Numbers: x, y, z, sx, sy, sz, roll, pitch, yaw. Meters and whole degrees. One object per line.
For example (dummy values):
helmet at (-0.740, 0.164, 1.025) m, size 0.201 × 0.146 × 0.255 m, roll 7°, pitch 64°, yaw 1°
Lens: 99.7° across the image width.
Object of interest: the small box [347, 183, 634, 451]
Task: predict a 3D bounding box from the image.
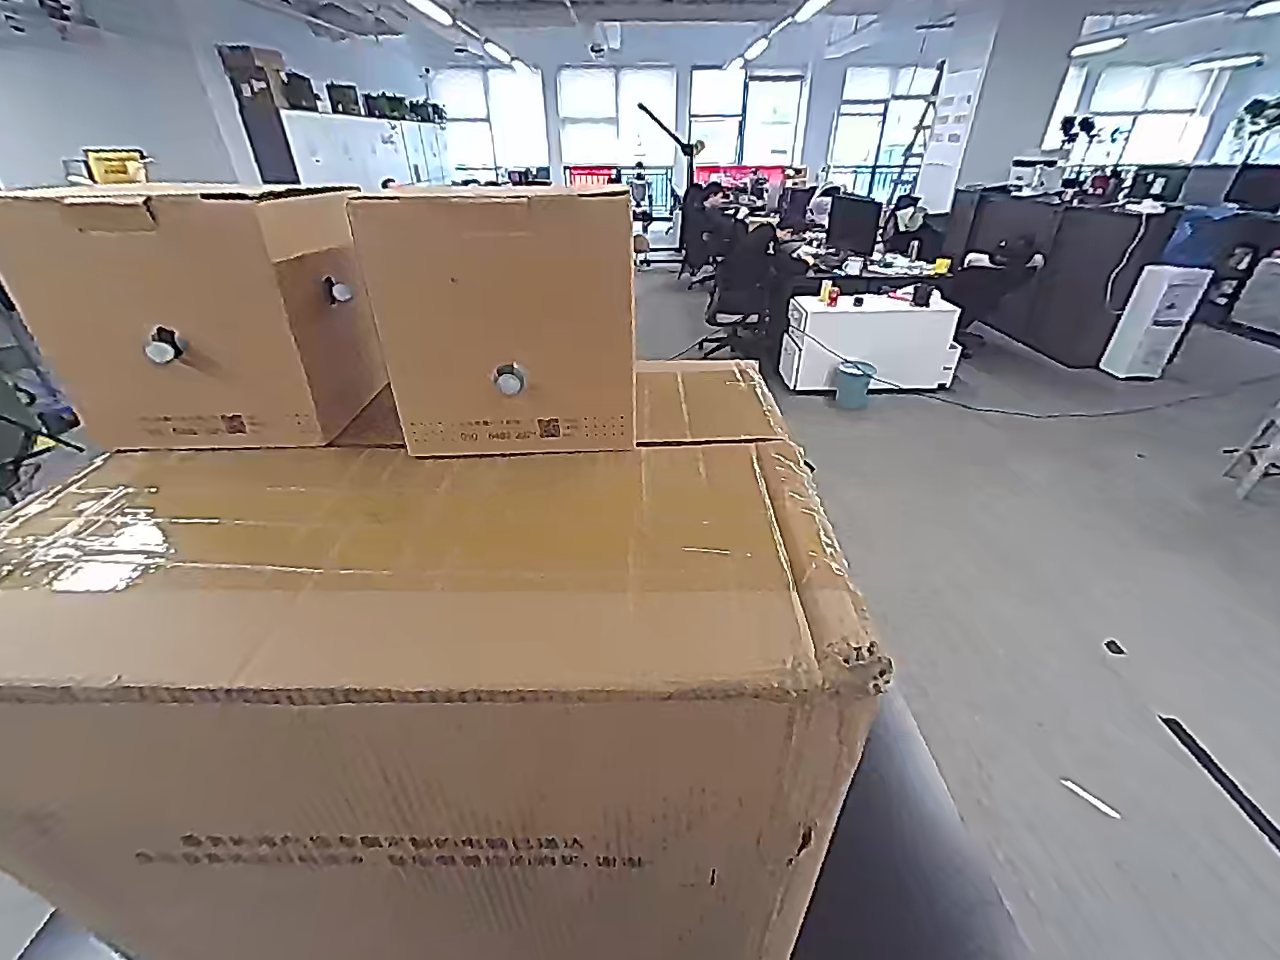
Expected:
small box at (-0.090, -0.133, 0.420) m, size 0.168 × 0.176 × 0.179 m, roll -2°, pitch 30°, yaw -2°

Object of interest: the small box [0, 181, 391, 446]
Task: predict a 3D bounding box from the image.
small box at (-0.318, -0.134, 0.426) m, size 0.168 × 0.176 × 0.179 m, roll -2°, pitch 31°, yaw -4°
